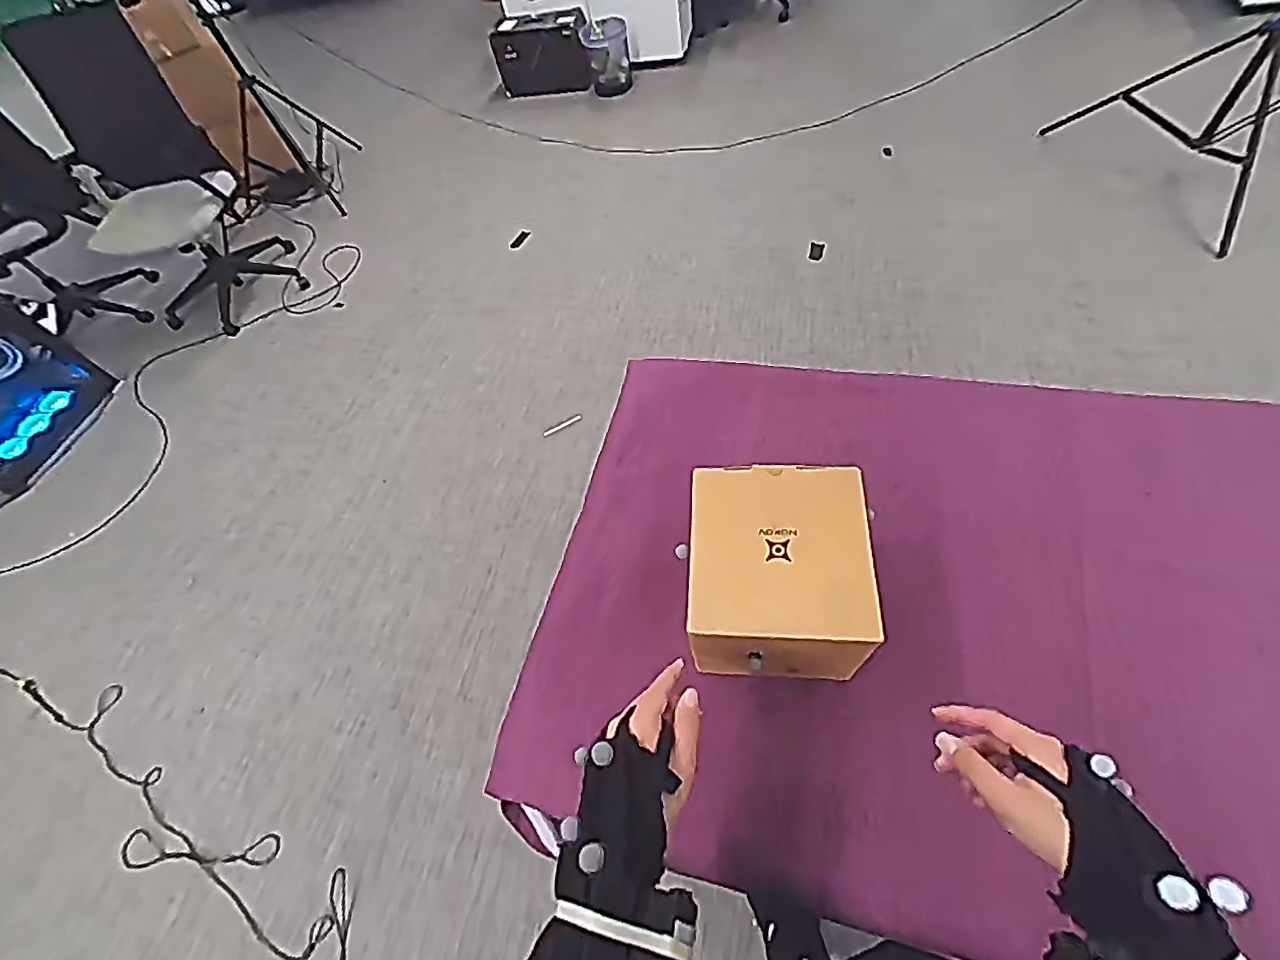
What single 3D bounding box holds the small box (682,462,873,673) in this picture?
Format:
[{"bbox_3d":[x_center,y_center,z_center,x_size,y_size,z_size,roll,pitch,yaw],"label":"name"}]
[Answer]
[{"bbox_3d":[0.138,0.099,0.577,0.168,0.176,0.179,-1,58,10],"label":"small box"}]
